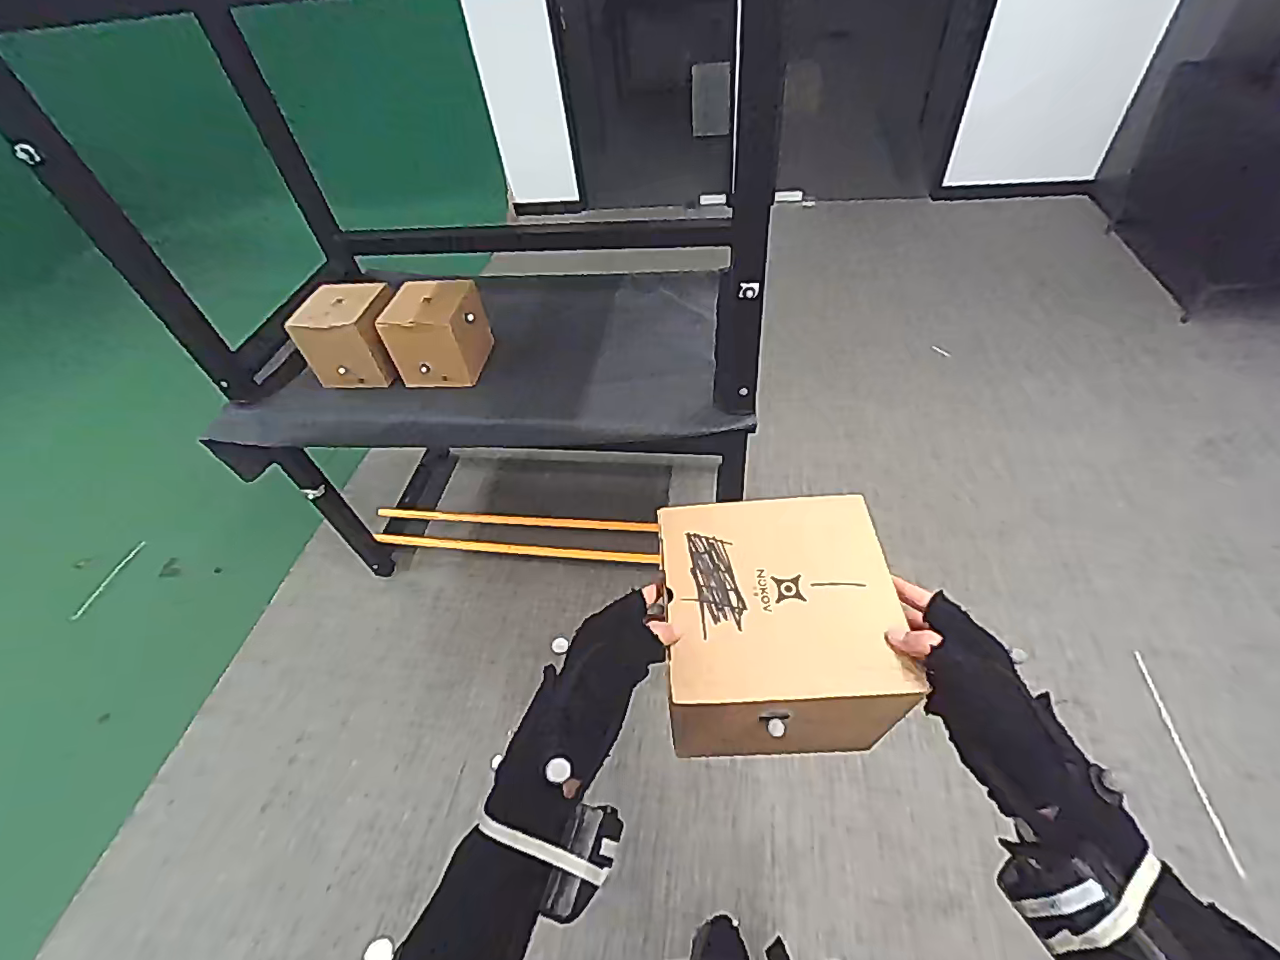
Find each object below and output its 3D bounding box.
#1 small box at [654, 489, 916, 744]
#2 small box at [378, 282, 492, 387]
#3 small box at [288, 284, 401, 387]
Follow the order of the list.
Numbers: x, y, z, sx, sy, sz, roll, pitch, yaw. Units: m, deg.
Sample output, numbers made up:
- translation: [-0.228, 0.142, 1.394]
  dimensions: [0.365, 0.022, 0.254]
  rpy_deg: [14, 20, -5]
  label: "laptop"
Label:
- translation: [0.107, 0.126, 0.480]
  dimensions: [0.179, 0.176, 0.168]
  rpy_deg: [-3, 51, 2]
  label: "small box"
- translation: [-0.453, -0.331, 1.230]
  dimensions: [0.168, 0.176, 0.179]
  rpy_deg: [1, 48, 8]
  label: "small box"
- translation: [-0.656, -0.335, 1.254]
  dimensions: [0.168, 0.176, 0.179]
  rpy_deg: [1, 49, 8]
  label: "small box"
